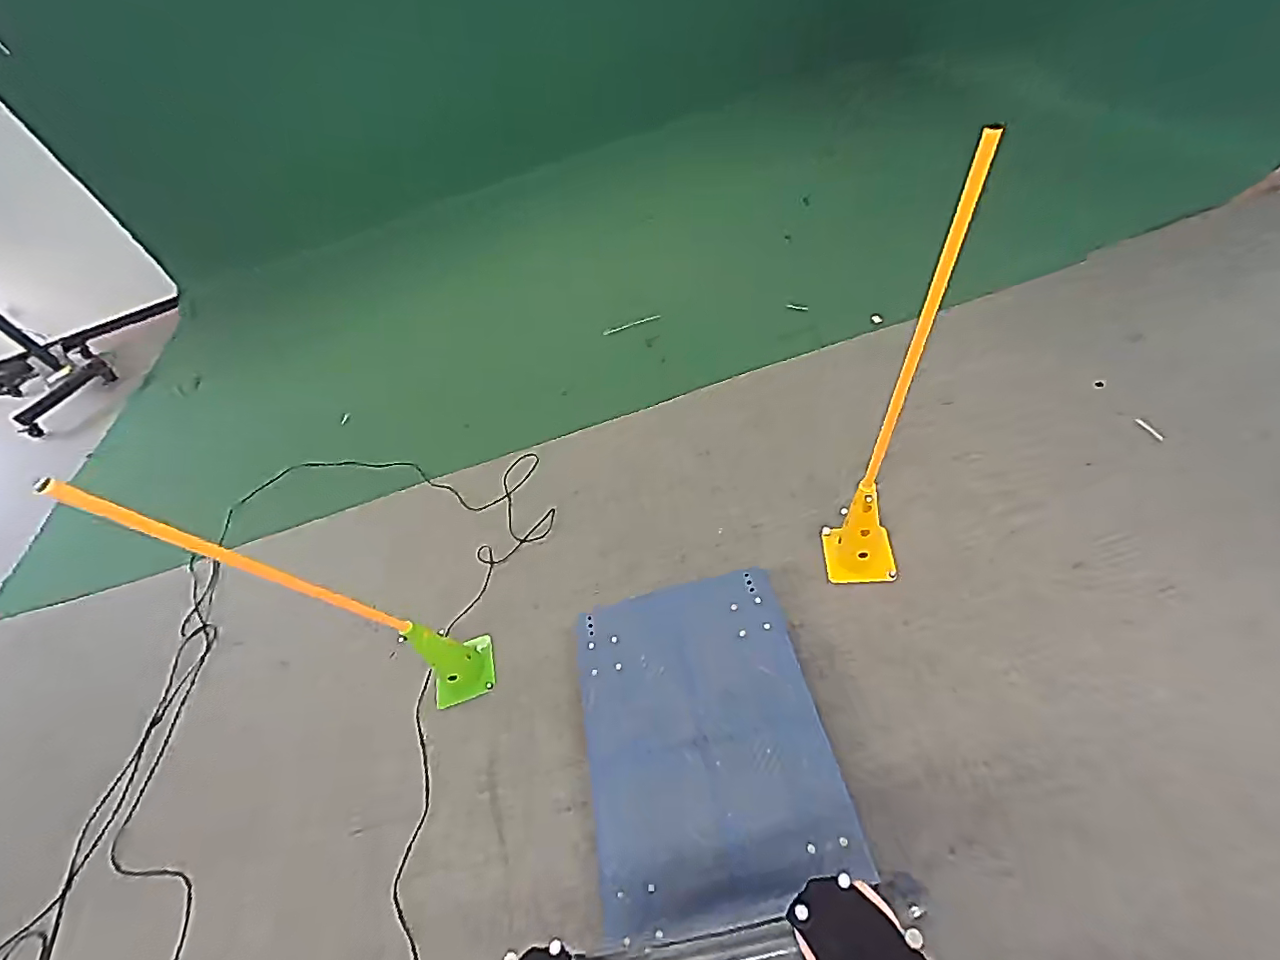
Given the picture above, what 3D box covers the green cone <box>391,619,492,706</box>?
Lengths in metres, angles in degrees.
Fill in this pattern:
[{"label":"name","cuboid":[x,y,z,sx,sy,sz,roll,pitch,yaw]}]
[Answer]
[{"label":"green cone","cuboid":[-0.628,0.510,1.643,0.202,0.368,0.200,-22,48,1]}]
